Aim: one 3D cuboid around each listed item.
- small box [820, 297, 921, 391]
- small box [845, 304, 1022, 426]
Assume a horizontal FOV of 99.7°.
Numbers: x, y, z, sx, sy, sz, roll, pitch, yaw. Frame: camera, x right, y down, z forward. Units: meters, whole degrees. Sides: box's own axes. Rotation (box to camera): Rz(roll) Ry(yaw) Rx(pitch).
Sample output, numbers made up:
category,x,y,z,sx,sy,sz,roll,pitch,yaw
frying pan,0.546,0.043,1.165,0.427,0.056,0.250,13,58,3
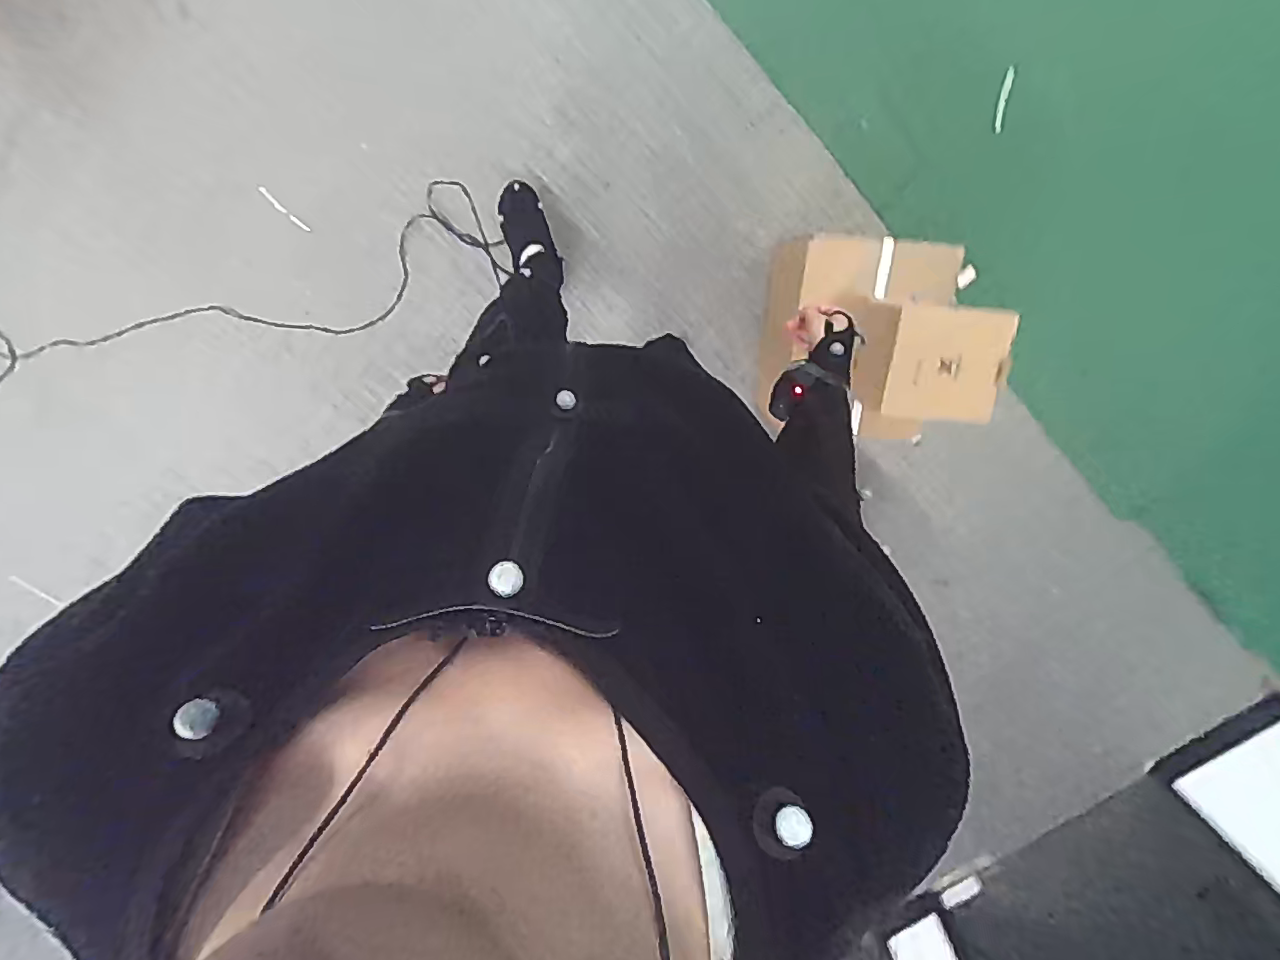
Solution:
category,x,y,z,sx,sy,sz,roll,pitch,yaw
small box,0.470,-0.253,1.033,0.179,0.176,0.168,7,110,-1
small box,0.462,-0.193,0.882,0.179,0.176,0.168,5,110,-1
